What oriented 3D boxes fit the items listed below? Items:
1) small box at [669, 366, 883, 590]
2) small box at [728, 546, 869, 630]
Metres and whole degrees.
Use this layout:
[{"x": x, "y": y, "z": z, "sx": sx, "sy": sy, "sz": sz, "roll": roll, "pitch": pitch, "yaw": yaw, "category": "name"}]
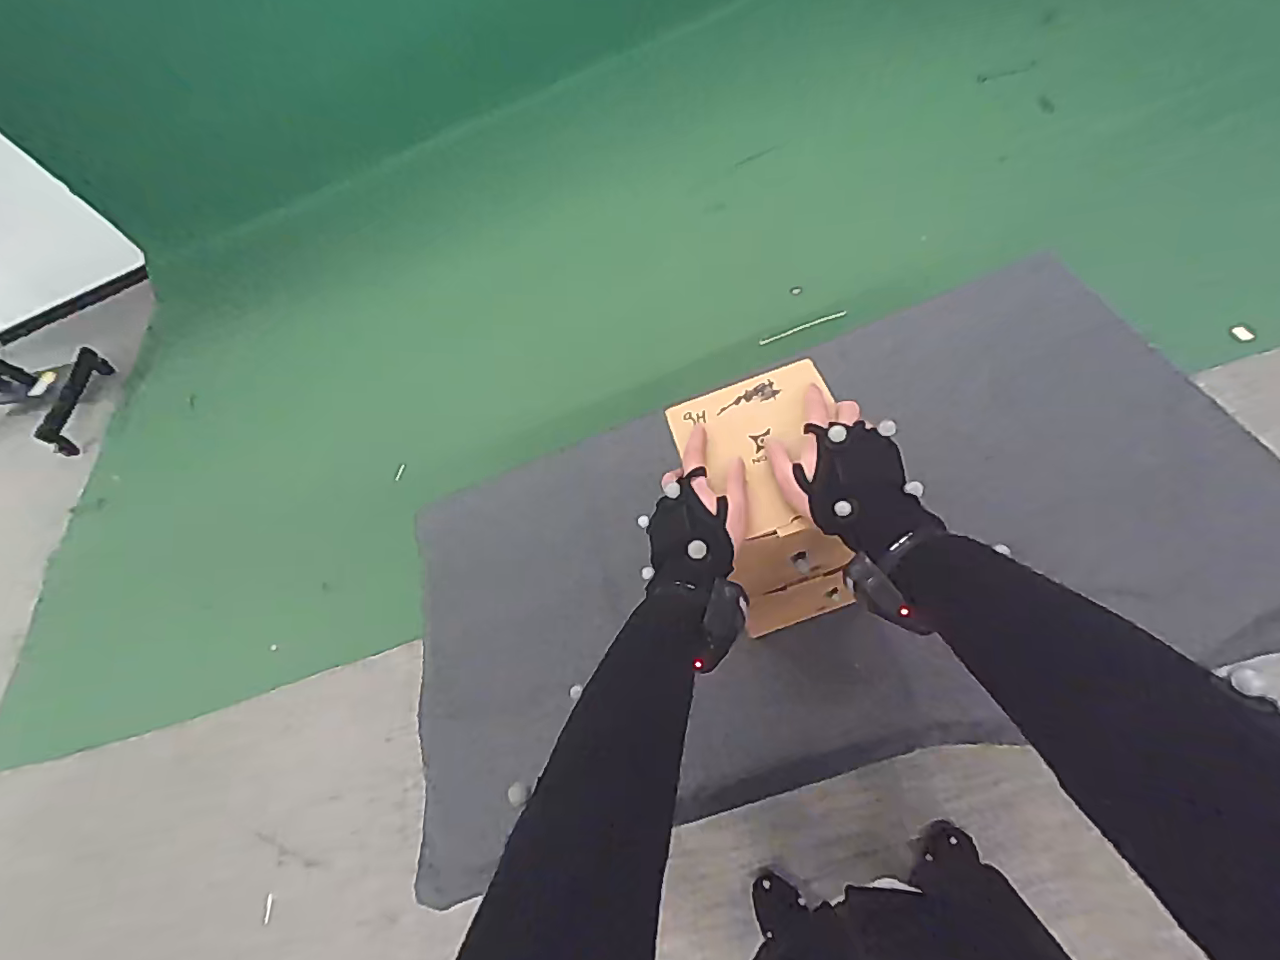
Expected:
[{"x": 0.145, "y": 0.011, "z": 0.607, "sx": 0.168, "sy": 0.176, "sz": 0.179, "roll": -19, "pitch": 60, "yaw": 4, "category": "small box"}, {"x": 0.190, "y": 0.091, "z": 0.740, "sx": 0.168, "sy": 0.176, "sz": 0.179, "roll": -20, "pitch": 56, "yaw": 4, "category": "small box"}]
